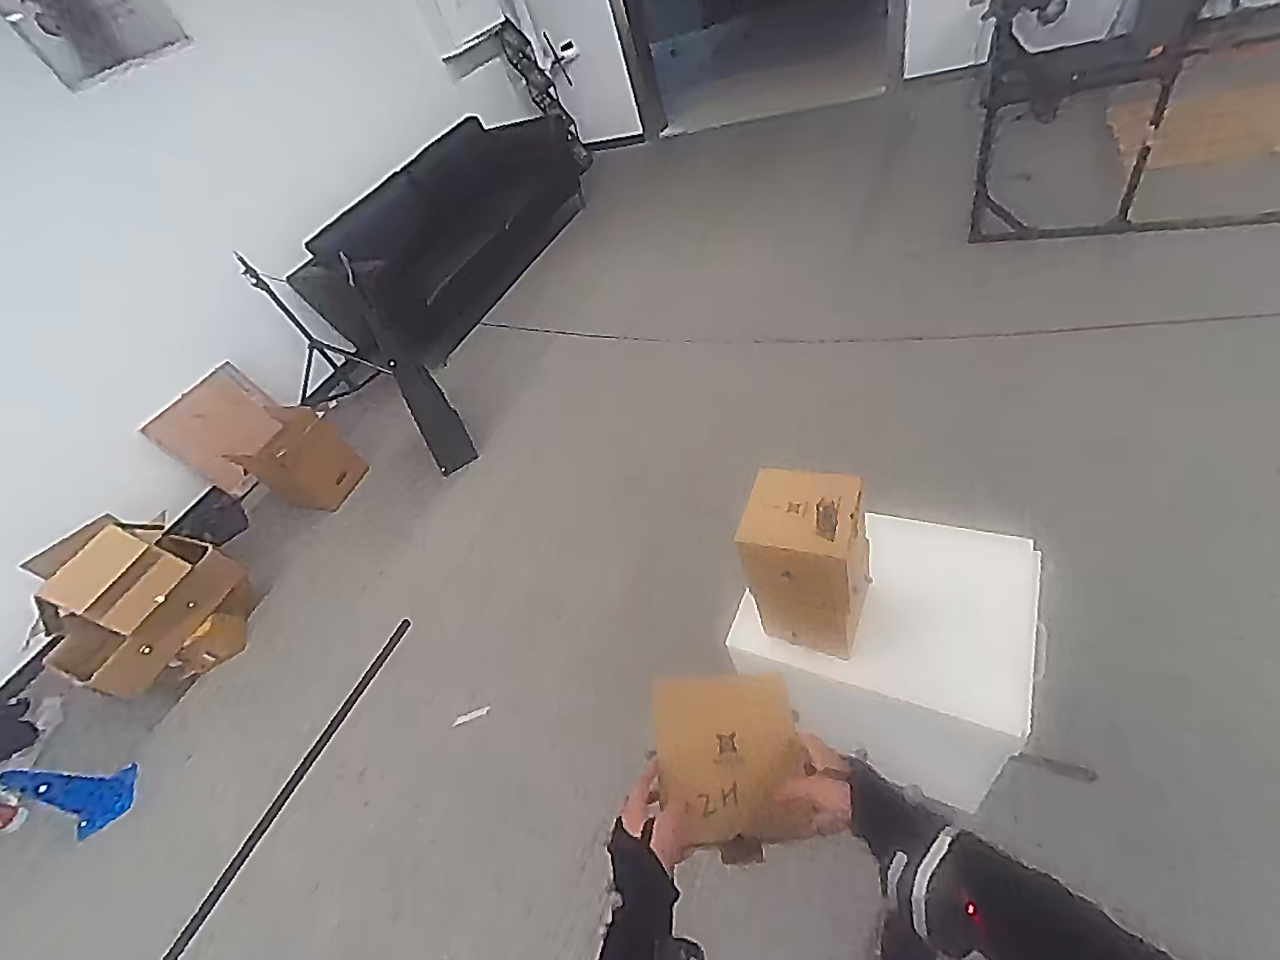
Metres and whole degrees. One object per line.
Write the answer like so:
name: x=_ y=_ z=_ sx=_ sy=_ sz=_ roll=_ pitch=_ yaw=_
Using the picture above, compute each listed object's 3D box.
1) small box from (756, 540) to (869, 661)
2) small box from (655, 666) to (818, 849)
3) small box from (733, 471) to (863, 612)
small box: x=0.333 y=0.214 z=1.038 sx=0.168 sy=0.176 sz=0.179 roll=10 pitch=53 yaw=30
small box: x=0.106 y=0.352 z=0.681 sx=0.168 sy=0.176 sz=0.179 roll=-5 pitch=55 yaw=2
small box: x=0.279 y=0.106 z=0.927 sx=0.179 sy=0.176 sz=0.168 roll=5 pitch=50 yaw=29
